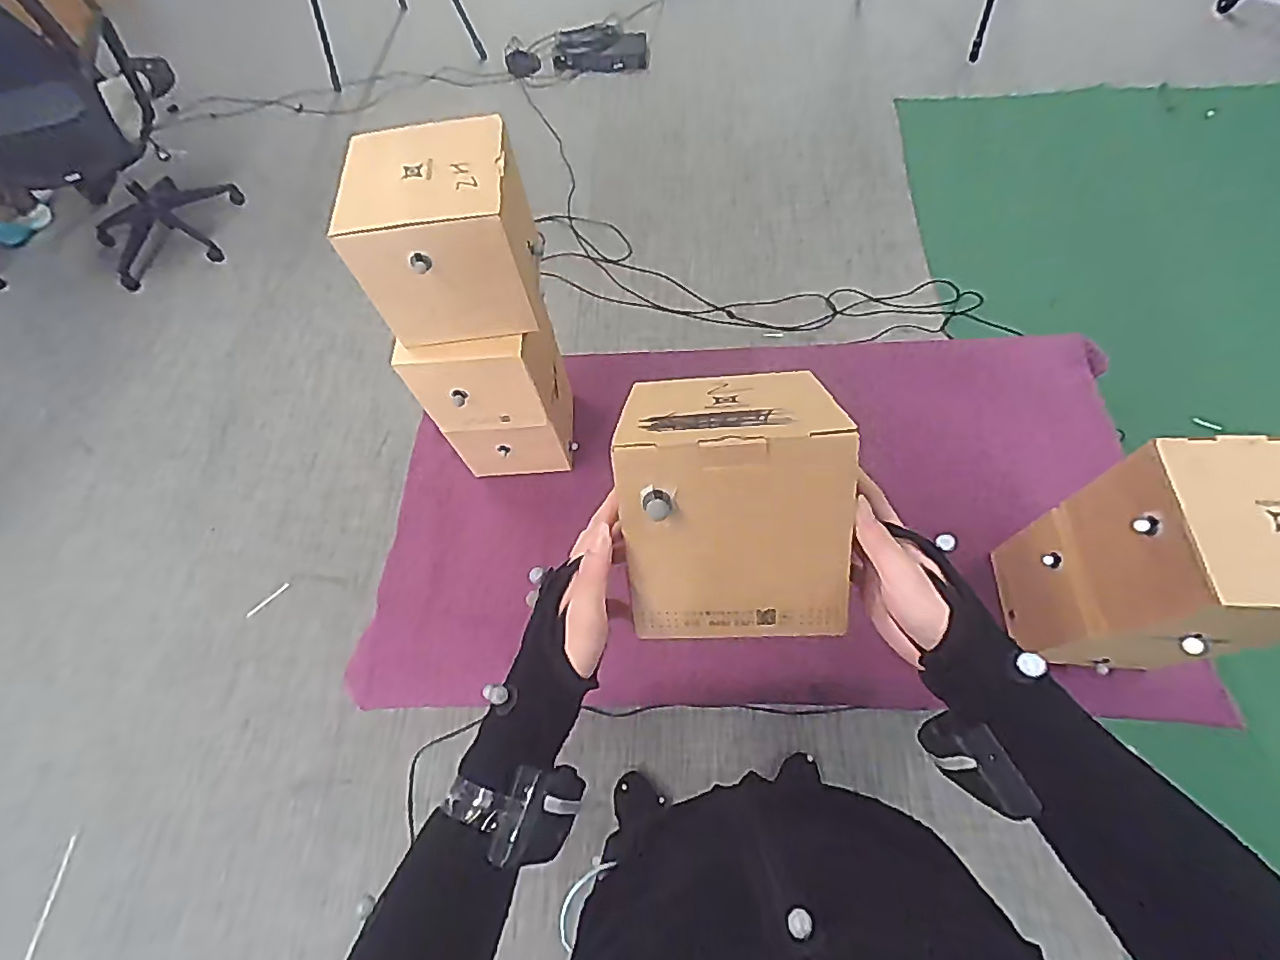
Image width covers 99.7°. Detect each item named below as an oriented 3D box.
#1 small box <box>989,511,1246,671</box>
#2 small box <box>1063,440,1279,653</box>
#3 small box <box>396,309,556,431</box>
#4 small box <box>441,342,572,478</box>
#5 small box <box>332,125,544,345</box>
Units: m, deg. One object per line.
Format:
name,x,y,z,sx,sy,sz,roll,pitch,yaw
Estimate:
small box,0.611,0.153,0.721,0.179,0.176,0.168,3,62,6
small box,0.601,0.075,0.578,0.168,0.176,0.179,1,63,8
small box,-0.220,-0.182,0.776,0.168,0.176,0.179,-3,63,3
small box,-0.214,-0.114,0.923,0.179,0.176,0.168,-4,63,3
small box,-0.220,-0.279,0.640,0.179,0.176,0.168,-6,63,1
